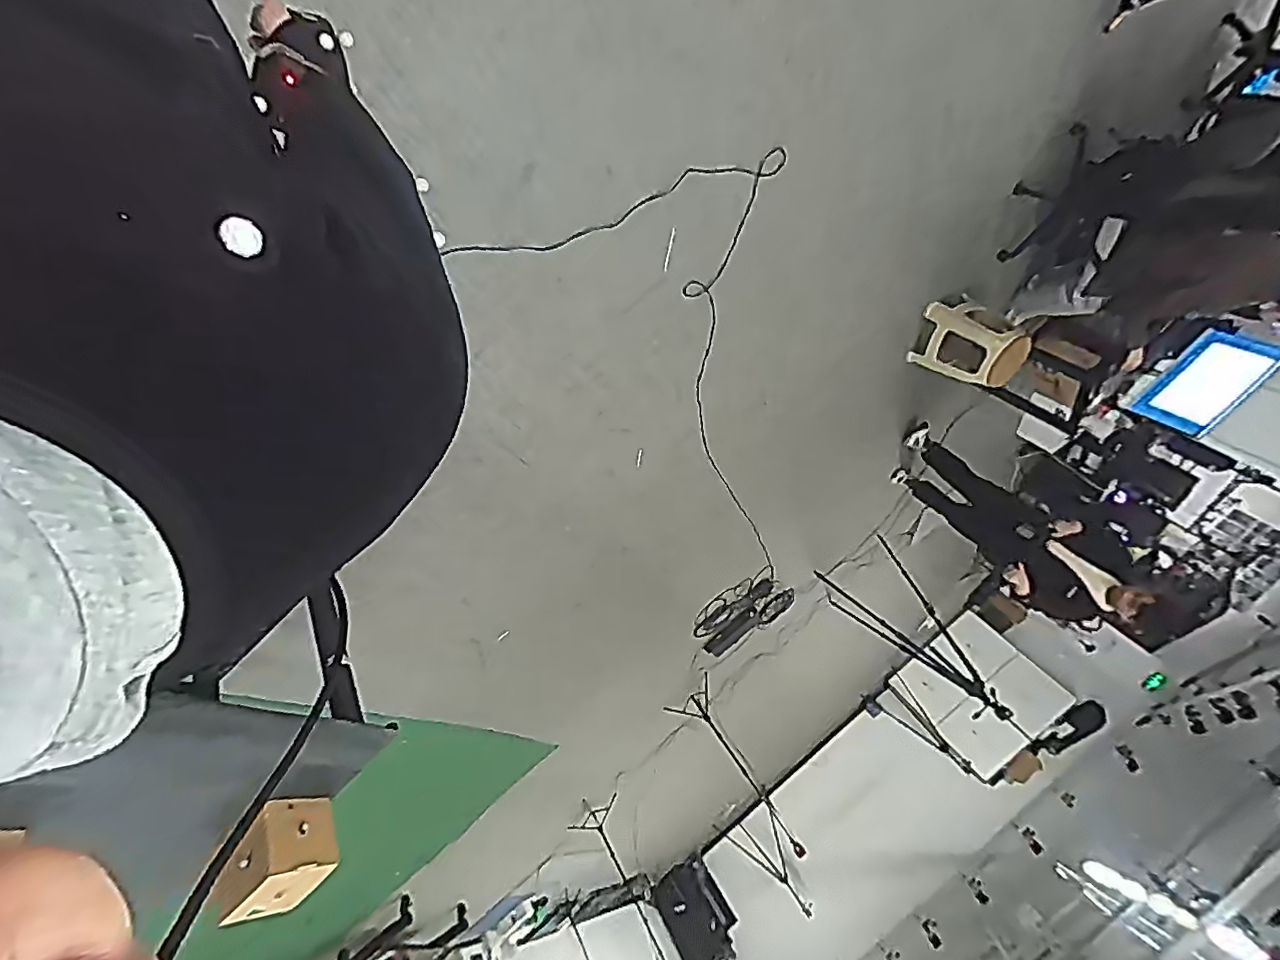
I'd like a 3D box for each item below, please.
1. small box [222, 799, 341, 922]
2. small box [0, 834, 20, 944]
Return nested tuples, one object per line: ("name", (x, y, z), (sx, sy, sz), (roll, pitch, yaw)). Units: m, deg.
("small box", (-0.858, 0.887, 1.285), (0.179, 0.176, 0.168), (-46, 142, 3))
("small box", (-1.145, 0.700, 0.852), (0.179, 0.176, 0.168), (-45, 143, 1))
